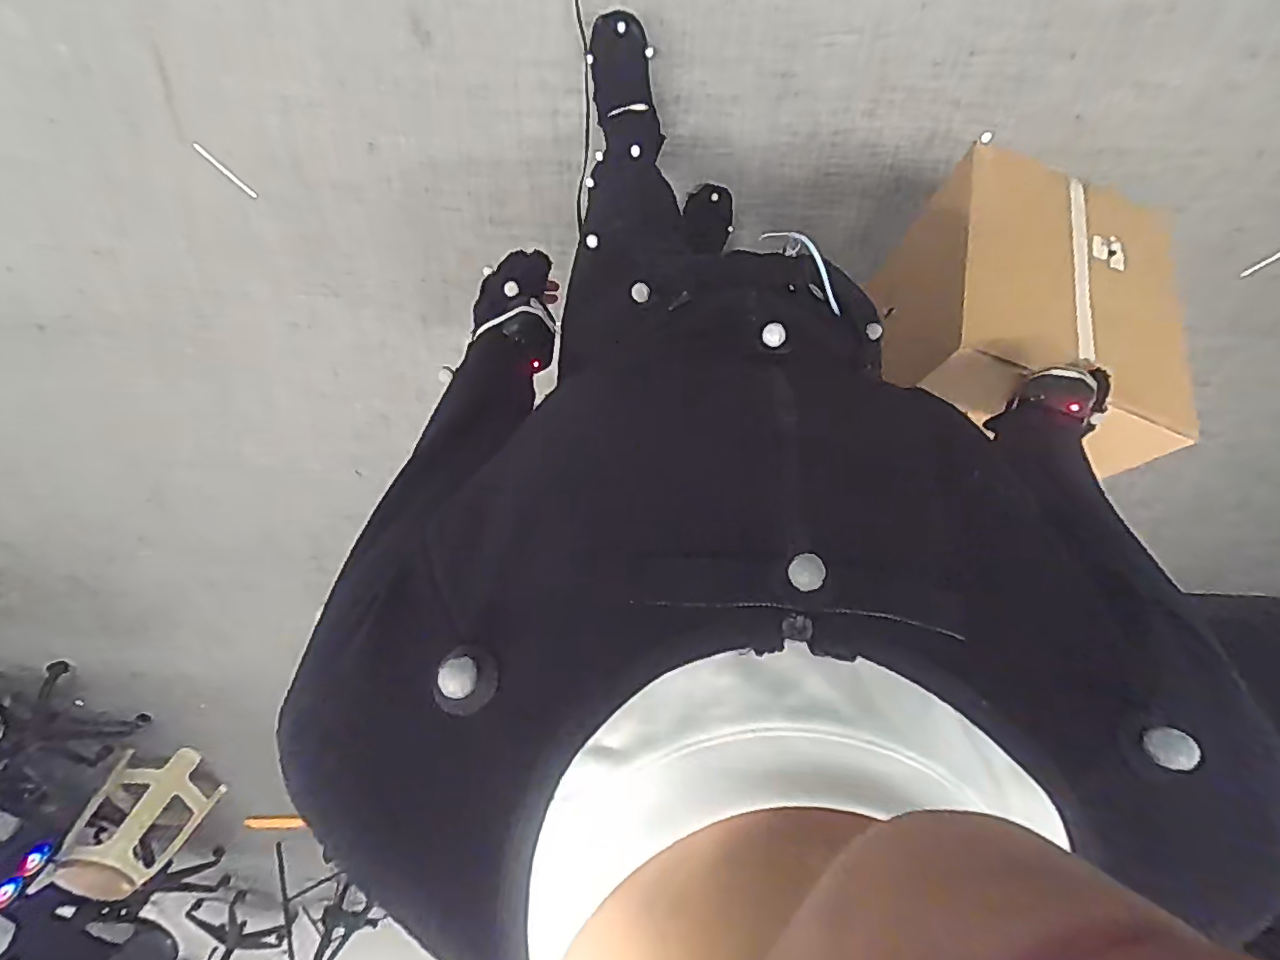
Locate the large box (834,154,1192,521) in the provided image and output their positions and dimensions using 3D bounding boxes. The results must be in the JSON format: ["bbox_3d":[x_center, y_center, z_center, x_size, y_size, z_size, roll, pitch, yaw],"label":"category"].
[{"bbox_3d":[0.542,-0.203,0.853,0.320,0.408,0.320,21,154,-3],"label":"large box"}]
